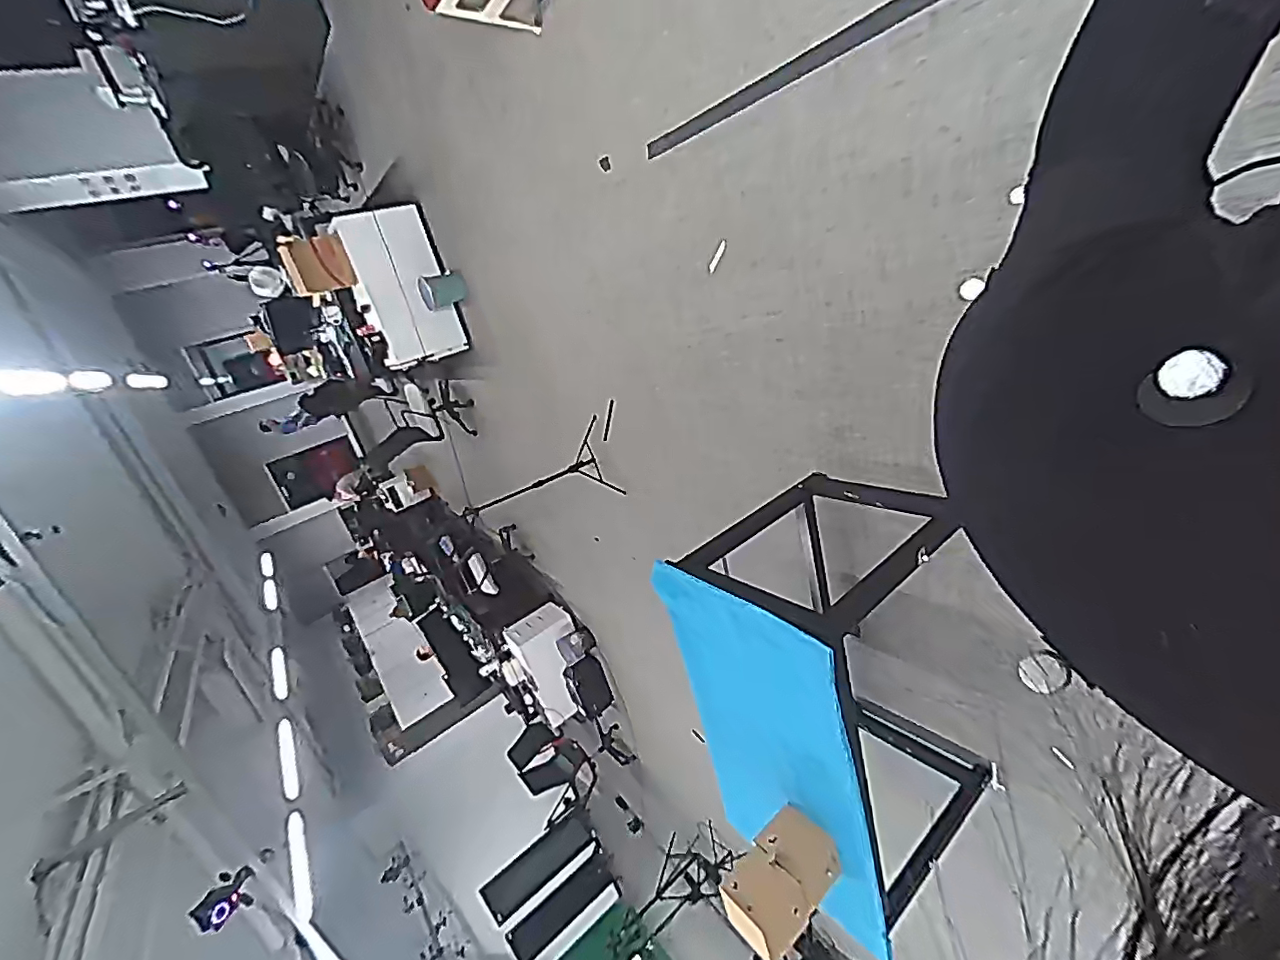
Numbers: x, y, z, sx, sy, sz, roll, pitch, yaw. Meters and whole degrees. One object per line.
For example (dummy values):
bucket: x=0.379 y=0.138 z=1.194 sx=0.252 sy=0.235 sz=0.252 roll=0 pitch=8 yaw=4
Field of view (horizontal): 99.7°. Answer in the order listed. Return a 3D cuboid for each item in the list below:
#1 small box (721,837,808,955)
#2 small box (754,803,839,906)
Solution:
small box: x=0.356 y=1.199 z=1.559 sx=0.168 sy=0.176 sz=0.179 roll=15 pitch=126 yaw=53
small box: x=0.480 y=1.132 z=1.650 sx=0.179 sy=0.176 sz=0.168 roll=15 pitch=128 yaw=51
